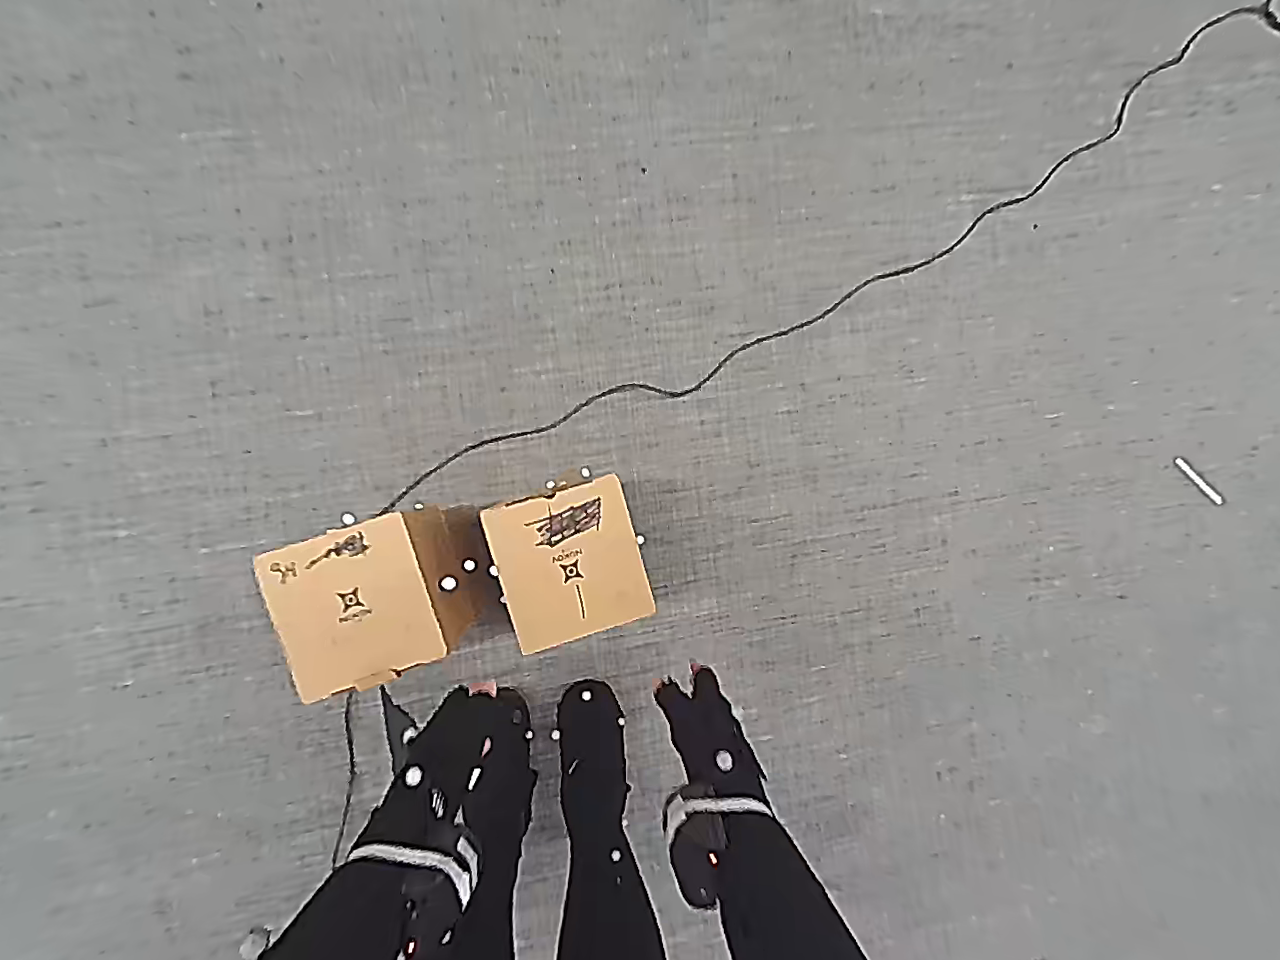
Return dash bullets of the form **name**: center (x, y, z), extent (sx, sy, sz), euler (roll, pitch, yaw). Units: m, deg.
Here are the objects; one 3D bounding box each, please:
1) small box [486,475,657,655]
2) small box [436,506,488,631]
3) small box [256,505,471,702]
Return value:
- **small box**: center (-0.088, 0.097, 0.706), extent (0.168, 0.176, 0.179), euler (-16, 93, -6)
- **small box**: center (-0.345, 0.144, 0.842), extent (0.168, 0.176, 0.179), euler (-13, 91, -7)
- **small box**: center (-0.326, 0.140, 0.679), extent (0.168, 0.176, 0.179), euler (-17, 93, -7)
